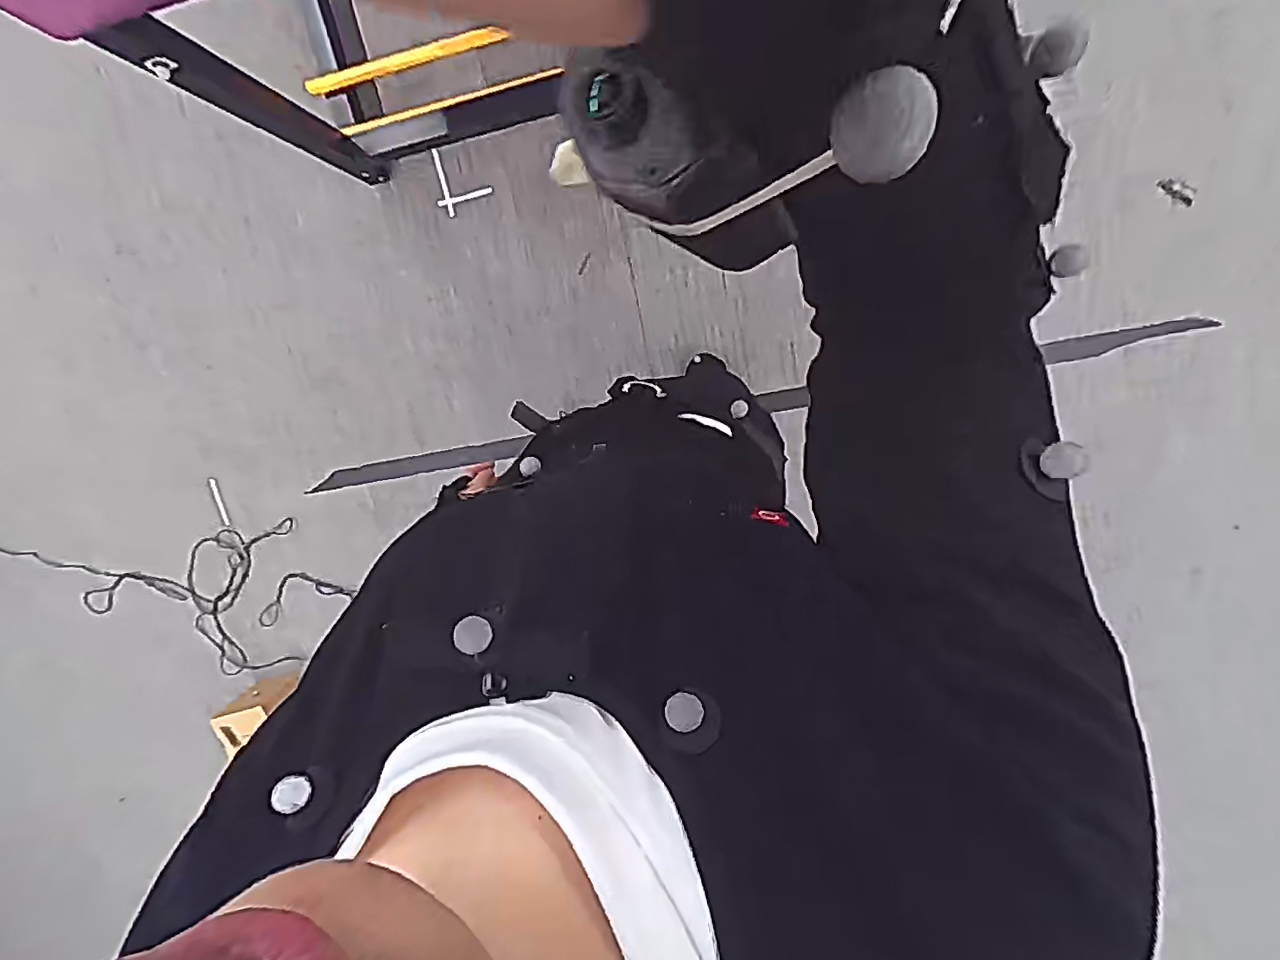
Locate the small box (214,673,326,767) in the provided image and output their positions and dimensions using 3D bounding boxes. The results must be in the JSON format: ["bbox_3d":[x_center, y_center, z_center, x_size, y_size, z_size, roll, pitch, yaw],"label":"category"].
[{"bbox_3d":[-1.067,0.693,1.572,0.179,0.176,0.168,-17,102,9],"label":"small box"}]
